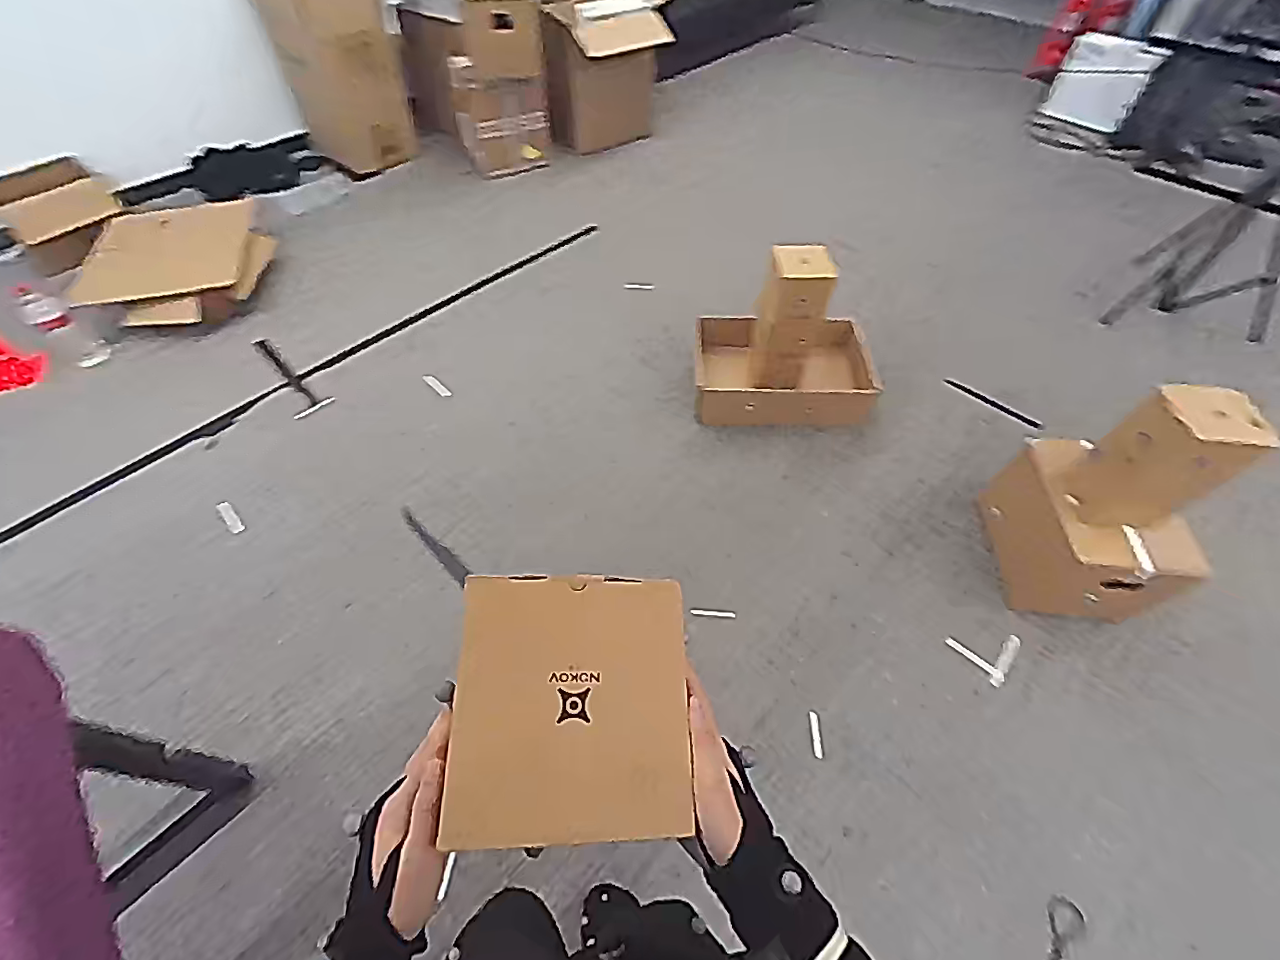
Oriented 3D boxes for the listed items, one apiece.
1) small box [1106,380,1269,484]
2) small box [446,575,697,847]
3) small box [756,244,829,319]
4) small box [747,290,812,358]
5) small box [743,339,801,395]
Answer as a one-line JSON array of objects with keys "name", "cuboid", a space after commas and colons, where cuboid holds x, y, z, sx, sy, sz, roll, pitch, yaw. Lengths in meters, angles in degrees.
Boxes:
[{"name": "small box", "cuboid": [1.215, -0.105, 1.225, 0.179, 0.176, 0.168, 3, 55, 3]}, {"name": "small box", "cuboid": [-0.056, 0.189, 0.456, 0.168, 0.176, 0.179, 4, 63, -10]}, {"name": "small box", "cuboid": [0.482, -0.631, 1.731, 0.168, 0.176, 0.179, -2, 54, -4]}, {"name": "small box", "cuboid": [0.475, -0.534, 1.865, 0.168, 0.176, 0.179, -2, 53, -4]}, {"name": "small box", "cuboid": [0.480, -0.437, 1.995, 0.168, 0.176, 0.179, 0, 55, 0]}]
